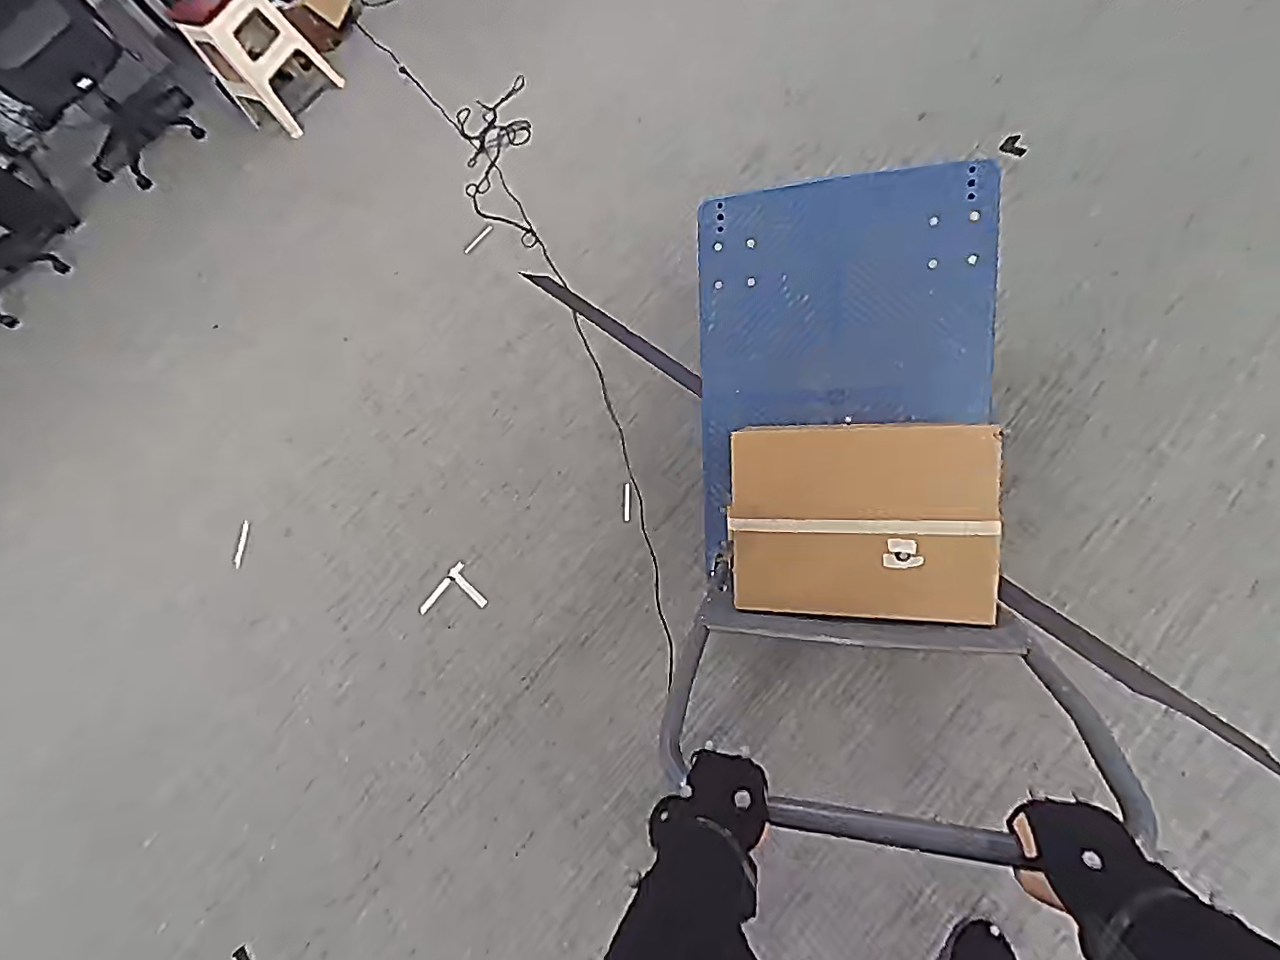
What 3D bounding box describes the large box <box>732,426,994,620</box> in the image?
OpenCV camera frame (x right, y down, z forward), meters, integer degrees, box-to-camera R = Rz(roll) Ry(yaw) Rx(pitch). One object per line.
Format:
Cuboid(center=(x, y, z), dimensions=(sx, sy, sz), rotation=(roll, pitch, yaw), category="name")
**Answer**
Cuboid(center=(0.395, 0.059, 1.038), dimensions=(0.408, 0.320, 0.320), rotation=(0, 97, 15), category="large box")
